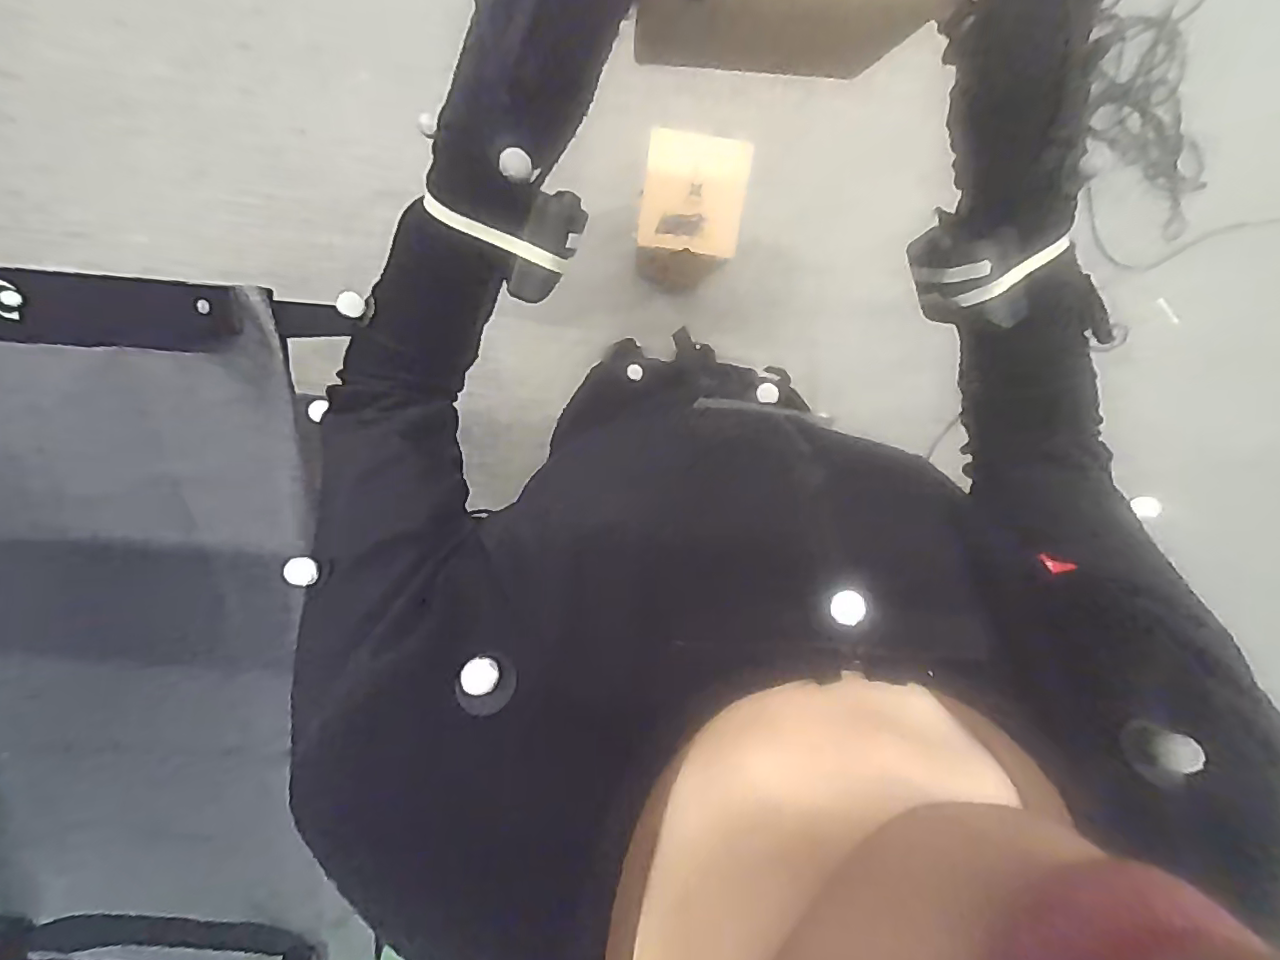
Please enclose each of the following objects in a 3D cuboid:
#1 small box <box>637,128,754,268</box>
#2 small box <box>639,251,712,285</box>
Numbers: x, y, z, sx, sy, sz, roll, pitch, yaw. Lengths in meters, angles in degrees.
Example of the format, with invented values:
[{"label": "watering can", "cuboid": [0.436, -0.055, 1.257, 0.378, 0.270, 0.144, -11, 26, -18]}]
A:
[{"label": "small box", "cuboid": [0.089, -0.480, 0.949, 0.168, 0.176, 0.179, 8, 105, -3]}, {"label": "small box", "cuboid": [0.092, -0.567, 1.263, 0.168, 0.176, 0.179, 10, 105, -2]}]
